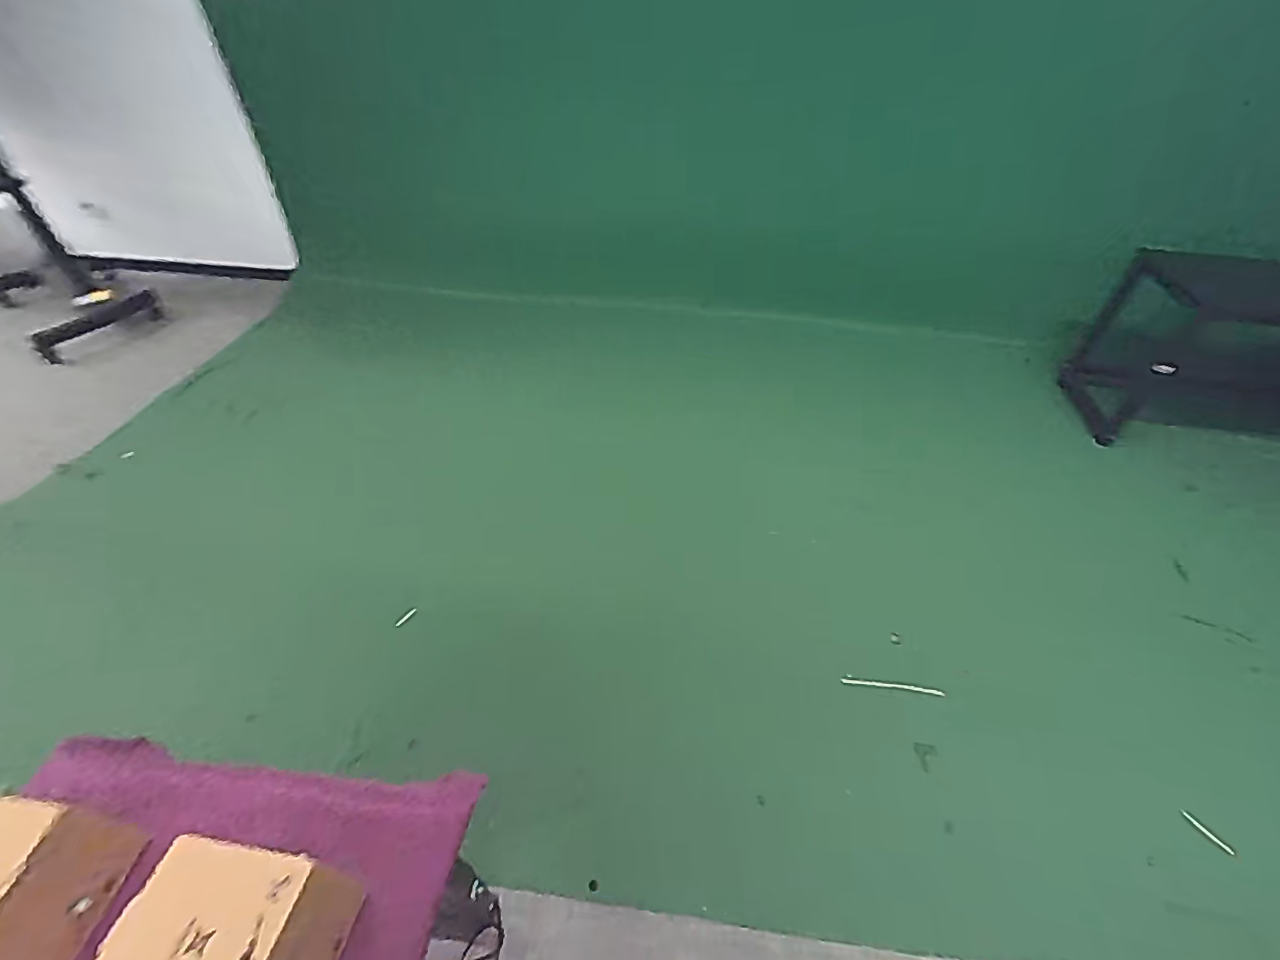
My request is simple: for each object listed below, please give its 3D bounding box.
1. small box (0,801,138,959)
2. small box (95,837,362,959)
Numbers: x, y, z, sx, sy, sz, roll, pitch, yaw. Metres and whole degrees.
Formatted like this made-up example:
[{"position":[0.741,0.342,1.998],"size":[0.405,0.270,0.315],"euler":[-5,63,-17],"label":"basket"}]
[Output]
[{"position":[-0.771,0.487,0.632],"size":[0.179,0.176,0.168],"euler":[6,47,2],"label":"small box"},{"position":[-0.457,0.529,0.606],"size":[0.179,0.176,0.168],"euler":[6,45,7],"label":"small box"}]
